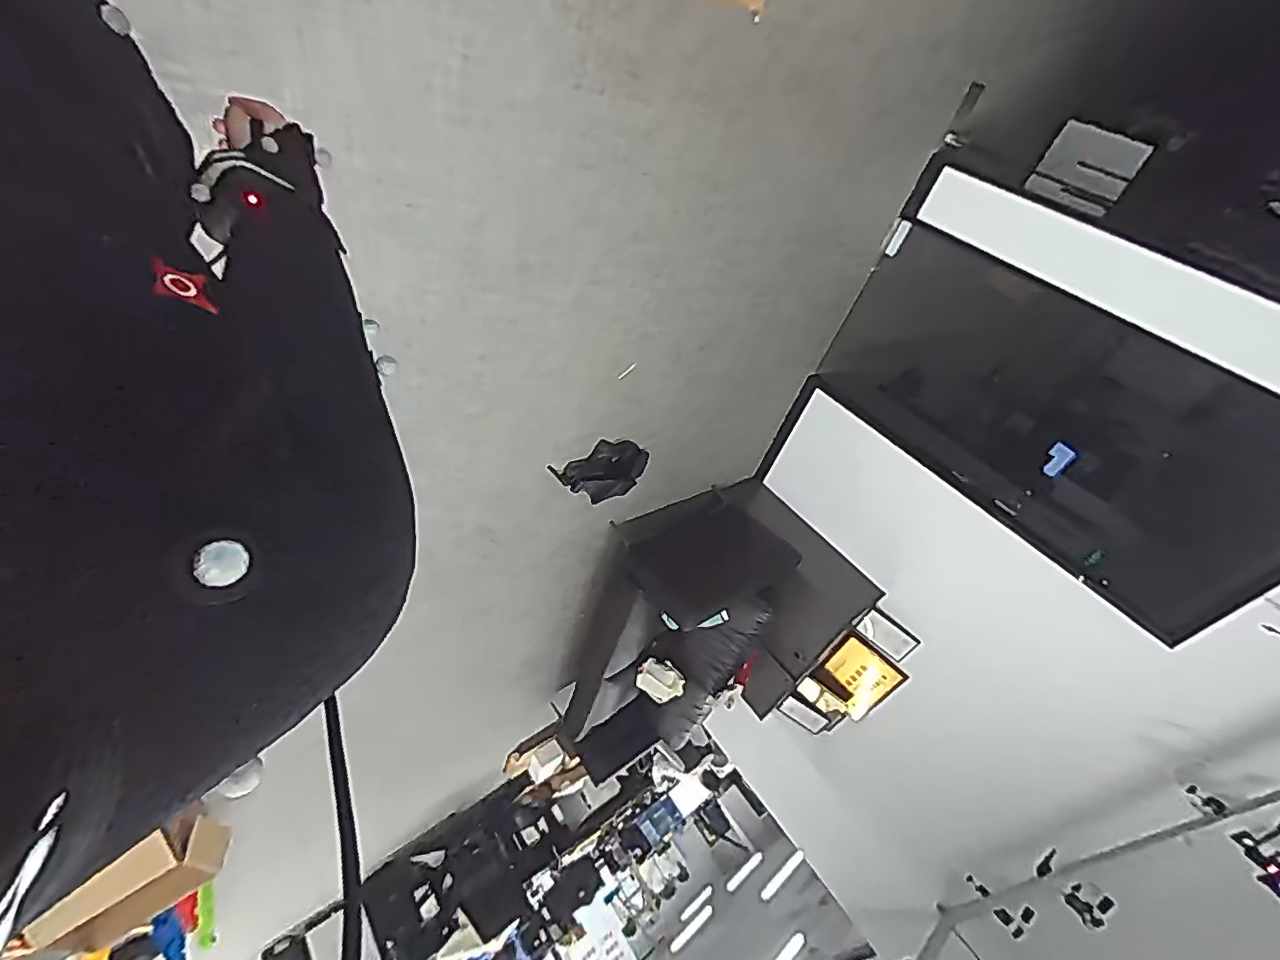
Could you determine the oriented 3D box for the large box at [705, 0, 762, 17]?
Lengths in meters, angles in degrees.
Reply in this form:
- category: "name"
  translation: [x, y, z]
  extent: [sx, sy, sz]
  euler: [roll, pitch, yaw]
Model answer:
- category: "large box"
  translation: [0.120, -1.204, 1.006]
  extent: [0.320, 0.320, 0.408]
  euler: [-12, 140, -42]
